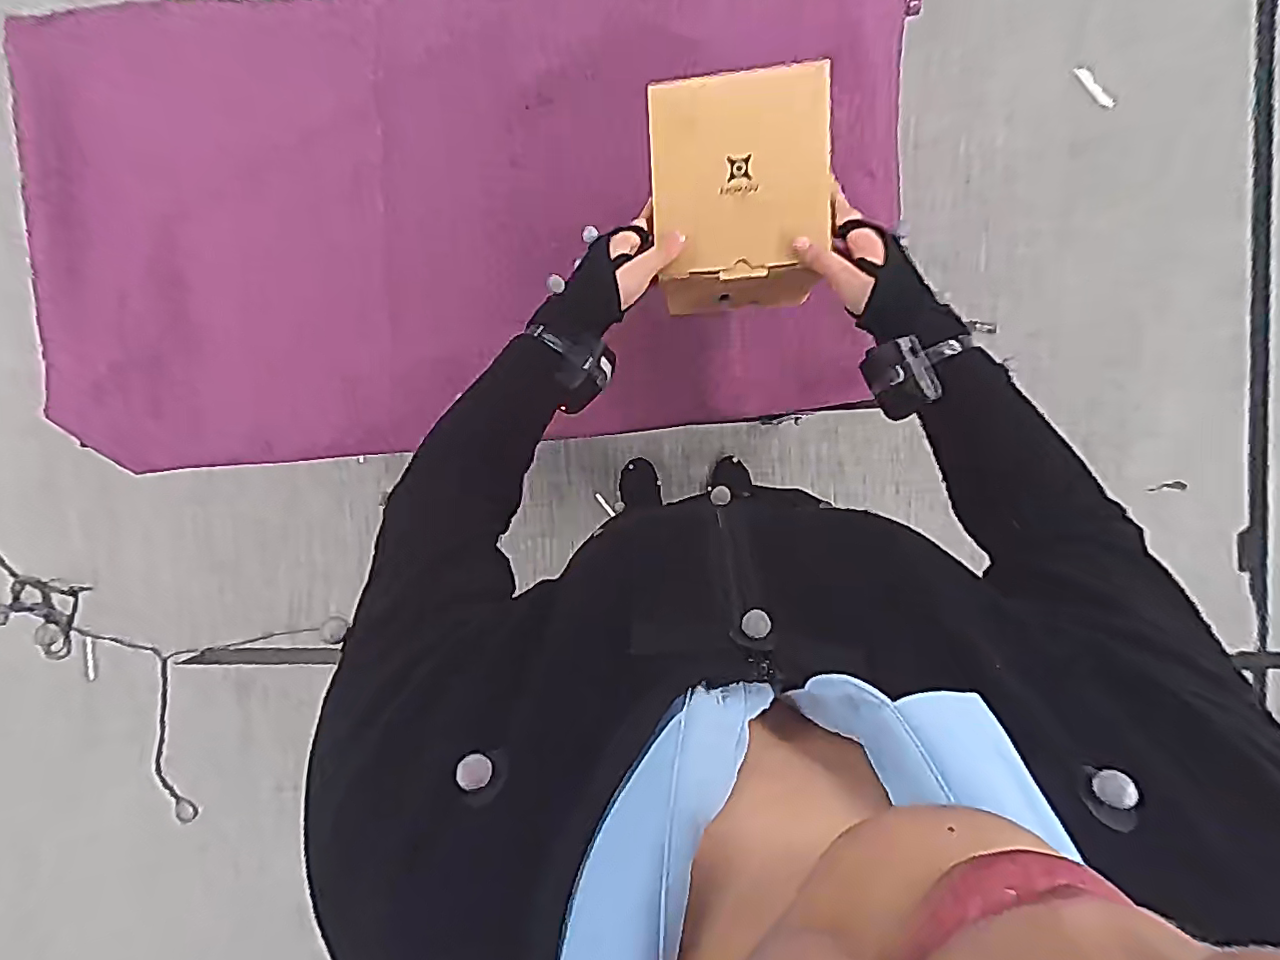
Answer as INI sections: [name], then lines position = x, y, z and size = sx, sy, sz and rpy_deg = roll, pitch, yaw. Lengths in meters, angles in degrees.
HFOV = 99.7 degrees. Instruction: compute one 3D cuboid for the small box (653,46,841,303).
[small box]
position = 0.105, -0.296, 0.563
size = 0.168, 0.176, 0.179
rpy_deg = -3, 97, 8
